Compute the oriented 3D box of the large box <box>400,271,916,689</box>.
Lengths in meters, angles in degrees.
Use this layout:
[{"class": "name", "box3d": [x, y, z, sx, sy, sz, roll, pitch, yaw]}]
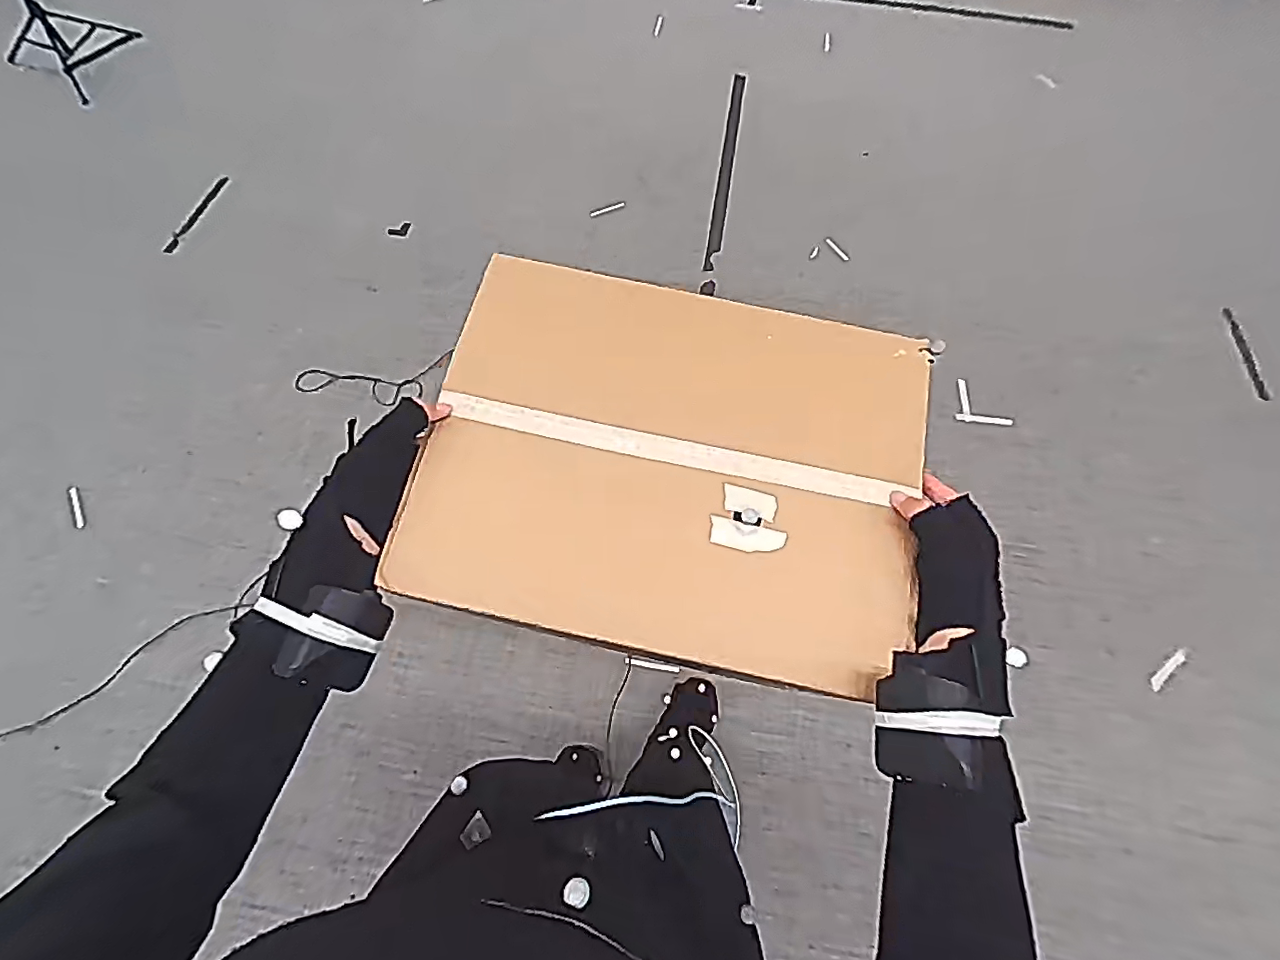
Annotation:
[{"class": "large box", "box3d": [0.026, 0.026, 0.602, 0.408, 0.320, 0.320, 12, 73, 1]}]
